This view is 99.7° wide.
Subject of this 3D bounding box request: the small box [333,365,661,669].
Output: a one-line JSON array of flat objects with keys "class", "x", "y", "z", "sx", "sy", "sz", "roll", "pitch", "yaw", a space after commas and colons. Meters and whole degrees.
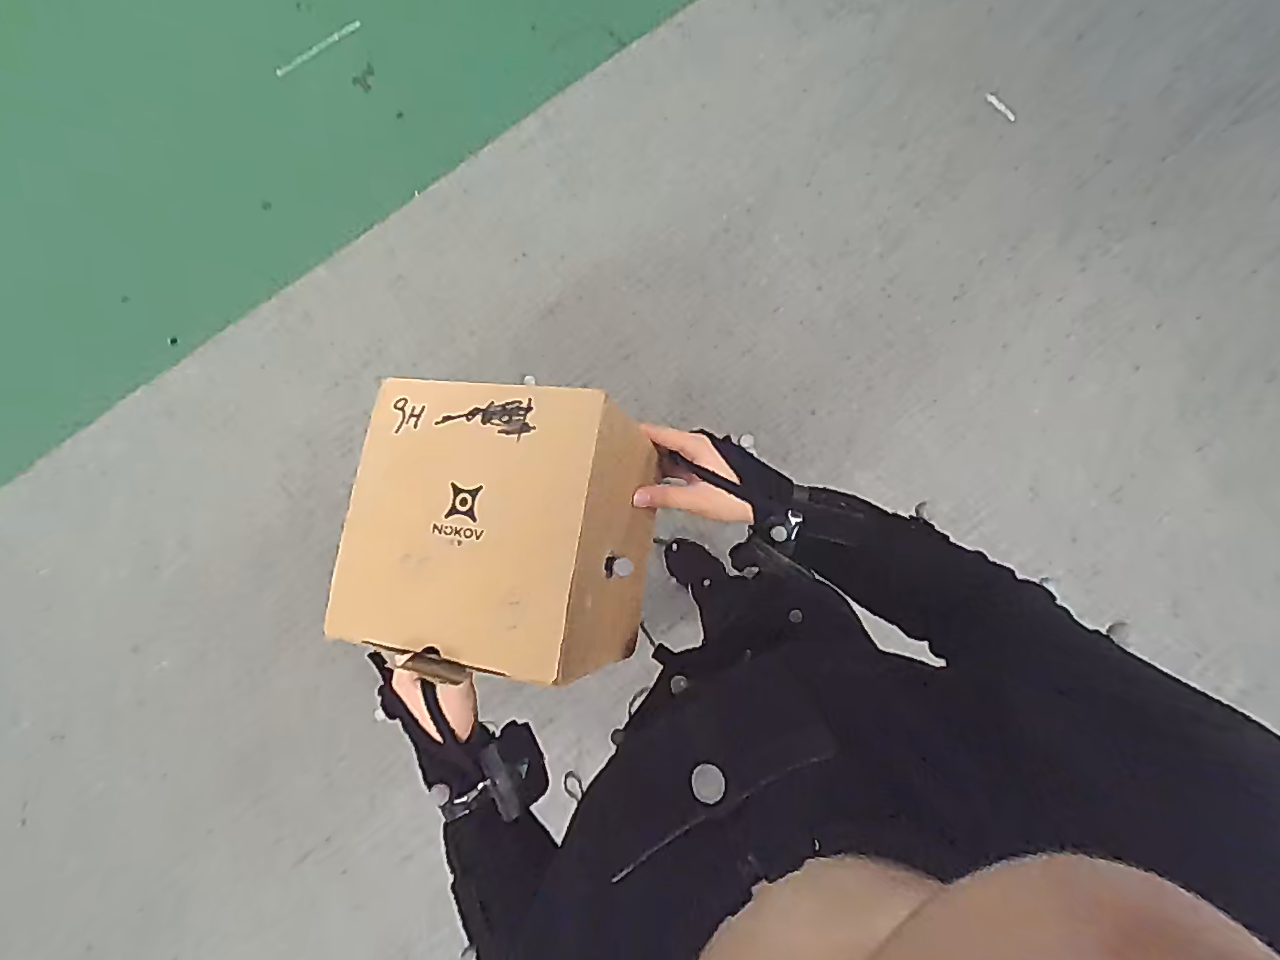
[{"class": "small box", "x": -0.088, "y": 0.028, "z": 0.415, "sx": 0.168, "sy": 0.176, "sz": 0.179, "roll": 7, "pitch": 81, "yaw": 16}]
